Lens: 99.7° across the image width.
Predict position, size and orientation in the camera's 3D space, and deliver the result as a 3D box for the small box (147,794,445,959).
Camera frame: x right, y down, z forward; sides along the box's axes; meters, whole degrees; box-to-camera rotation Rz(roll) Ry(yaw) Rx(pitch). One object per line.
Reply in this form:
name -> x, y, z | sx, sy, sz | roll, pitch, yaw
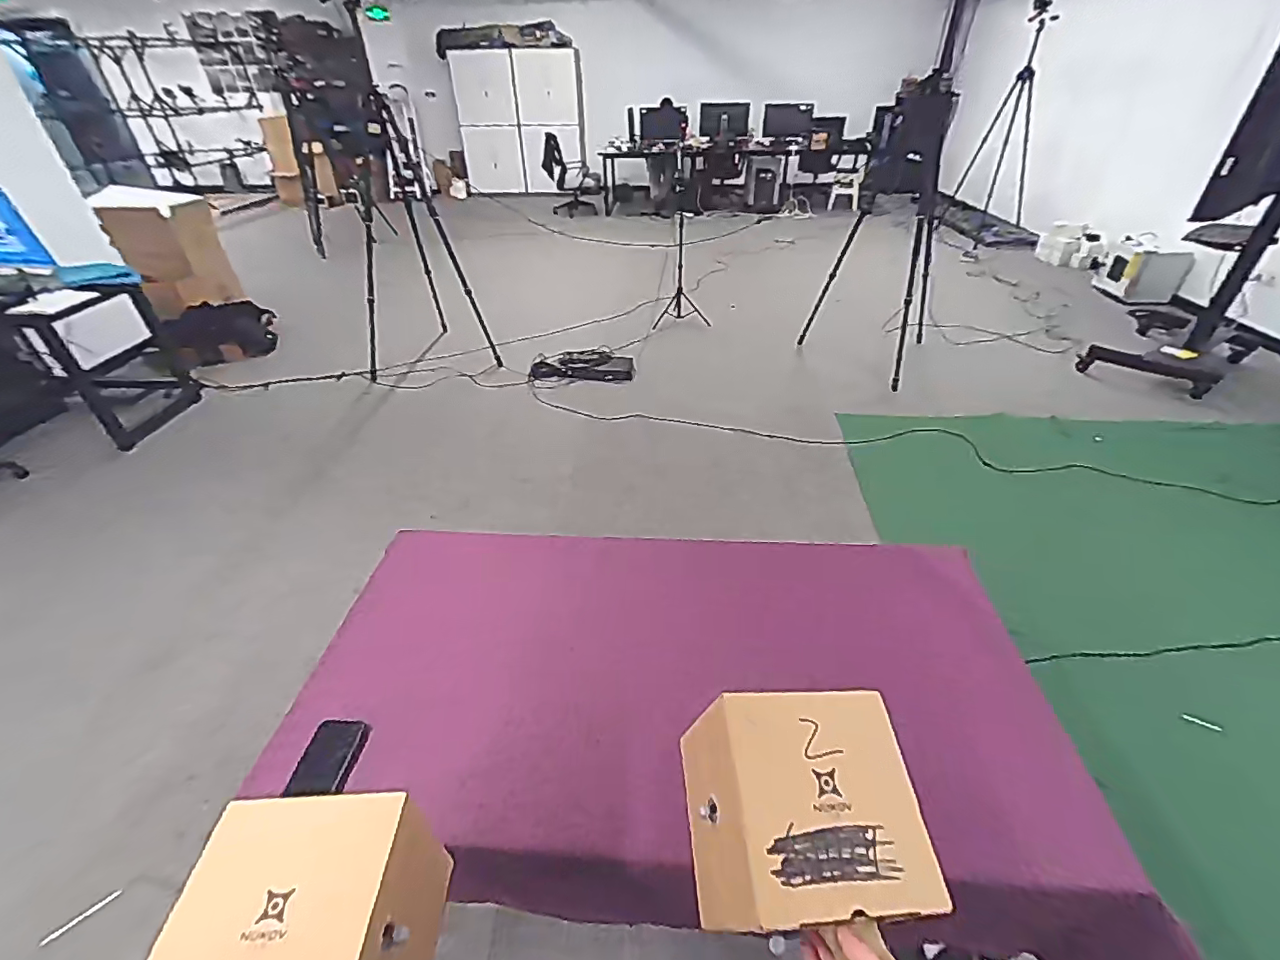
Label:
small box -> -0.286, 0.405, 0.475 | 0.168, 0.176, 0.179 | -1, 38, 0
